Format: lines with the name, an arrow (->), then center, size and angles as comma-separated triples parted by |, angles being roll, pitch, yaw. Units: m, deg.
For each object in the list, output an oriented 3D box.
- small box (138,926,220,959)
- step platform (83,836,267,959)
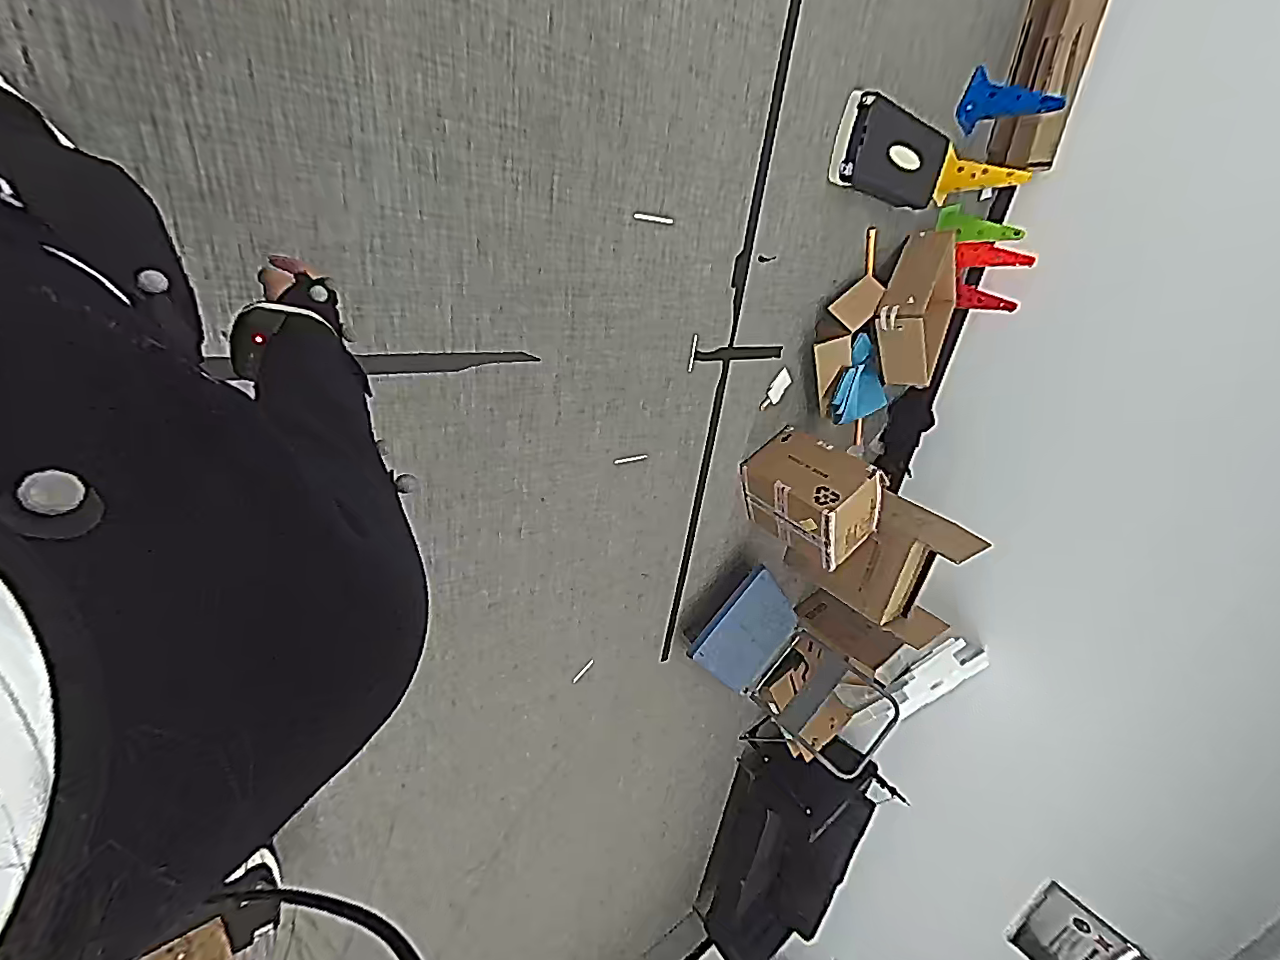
small box -> -1.174, 1.299, 1.373 | 0.168, 0.176, 0.179 | -12, 123, -39
step platform -> -1.389, 1.267, 1.411 | 0.684, 0.204, 0.286 | -14, 124, -39
